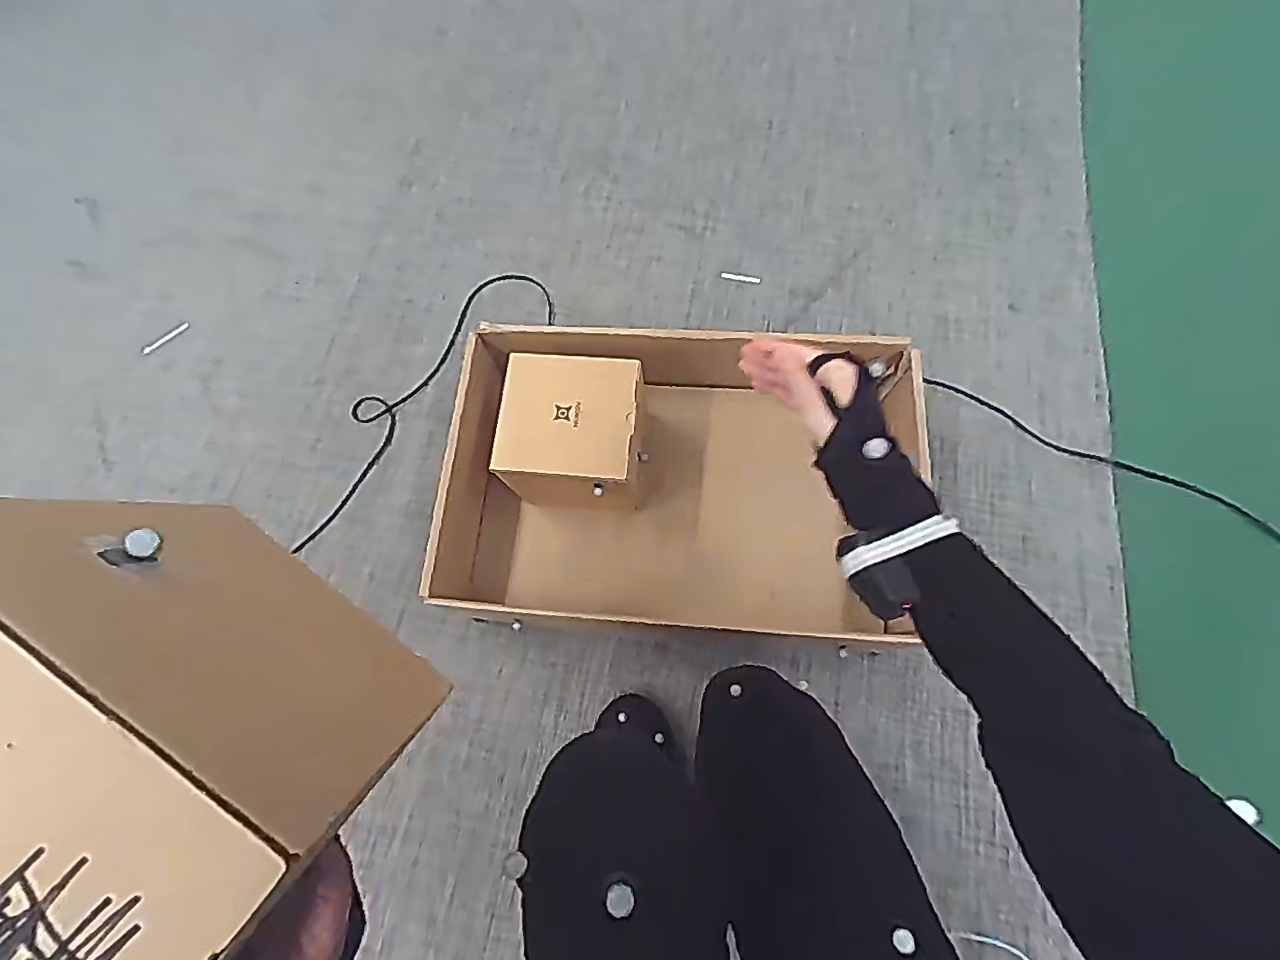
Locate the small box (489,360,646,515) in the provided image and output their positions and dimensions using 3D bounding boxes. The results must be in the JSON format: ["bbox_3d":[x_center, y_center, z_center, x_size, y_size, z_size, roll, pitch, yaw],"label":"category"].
[{"bbox_3d":[-0.089,-0.052,0.763,0.179,0.176,0.168,4,73,4],"label":"small box"}]
